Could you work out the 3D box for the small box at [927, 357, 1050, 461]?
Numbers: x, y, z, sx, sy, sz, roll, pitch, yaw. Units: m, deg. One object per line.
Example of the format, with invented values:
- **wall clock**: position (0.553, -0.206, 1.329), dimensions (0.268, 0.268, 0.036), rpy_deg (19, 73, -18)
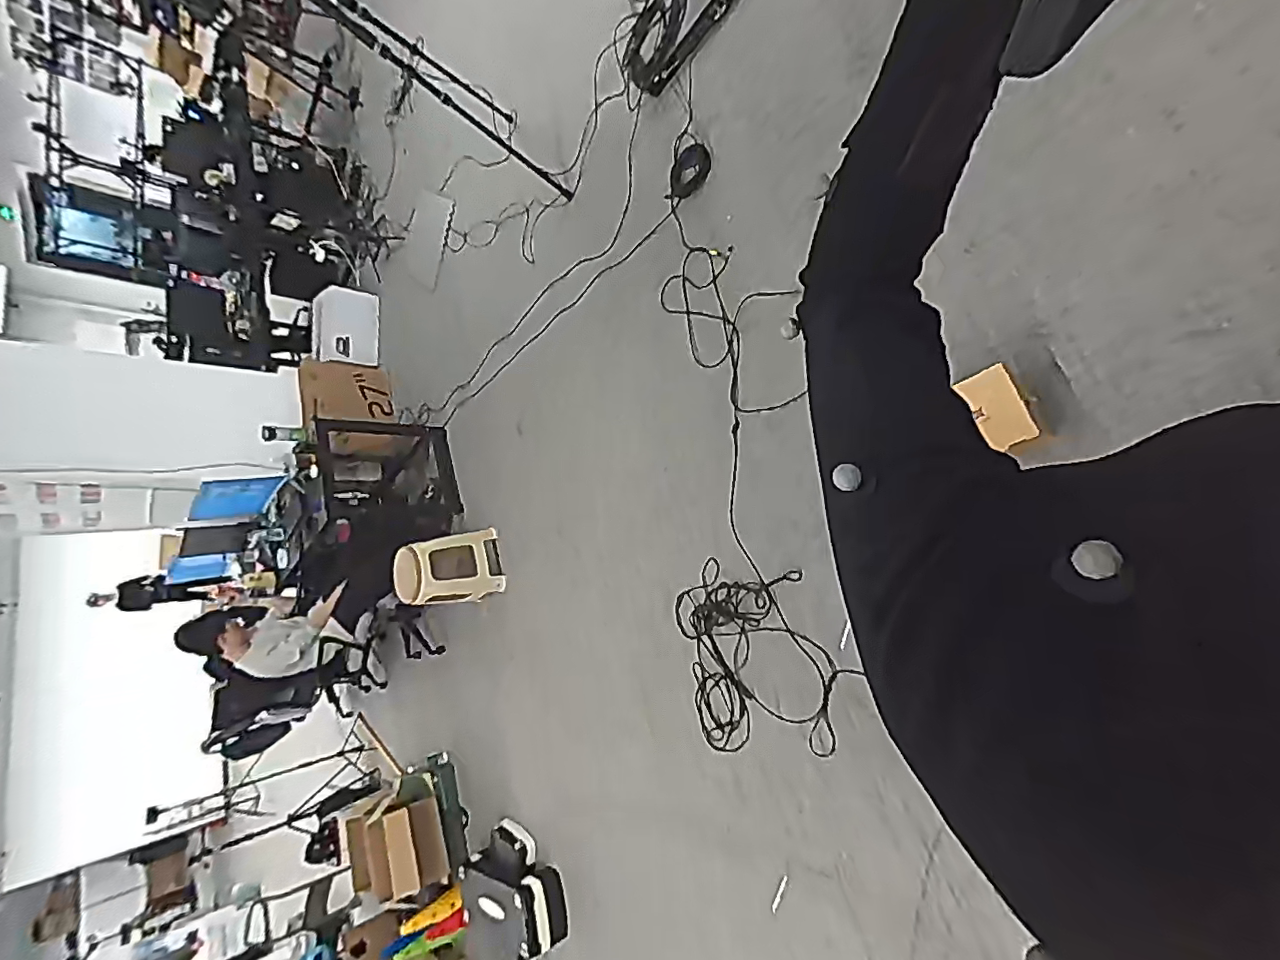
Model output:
- **small box**: position (0.797, -0.154, 1.237), dimensions (0.168, 0.176, 0.179), rpy_deg (-32, 67, 41)
